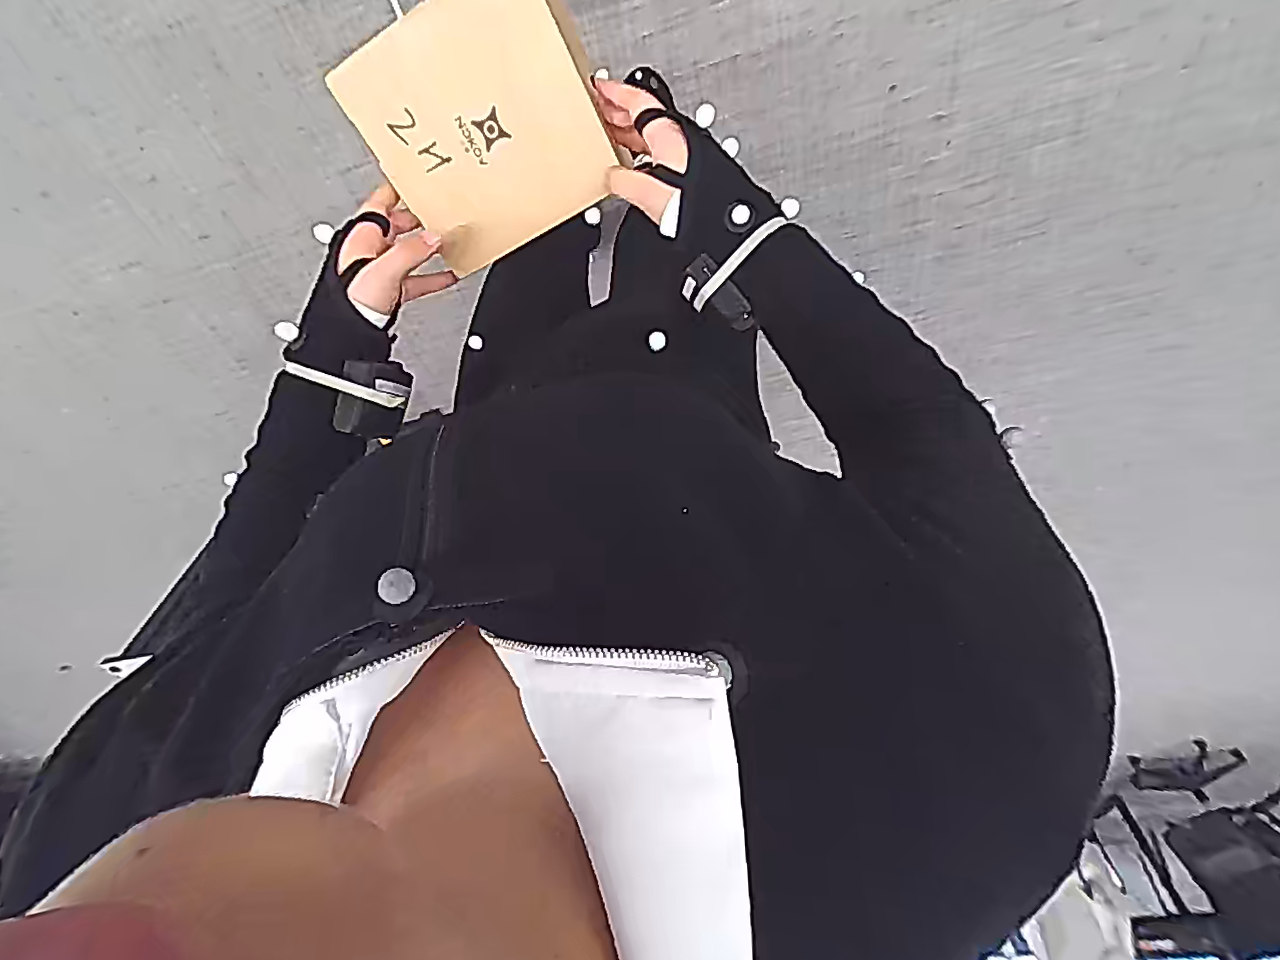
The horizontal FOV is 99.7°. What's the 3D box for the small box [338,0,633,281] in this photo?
[{"bbox_3d":[-0.117,-0.314,0.490,0.179,0.176,0.168,-22,121,16],"label":"small box"}]
